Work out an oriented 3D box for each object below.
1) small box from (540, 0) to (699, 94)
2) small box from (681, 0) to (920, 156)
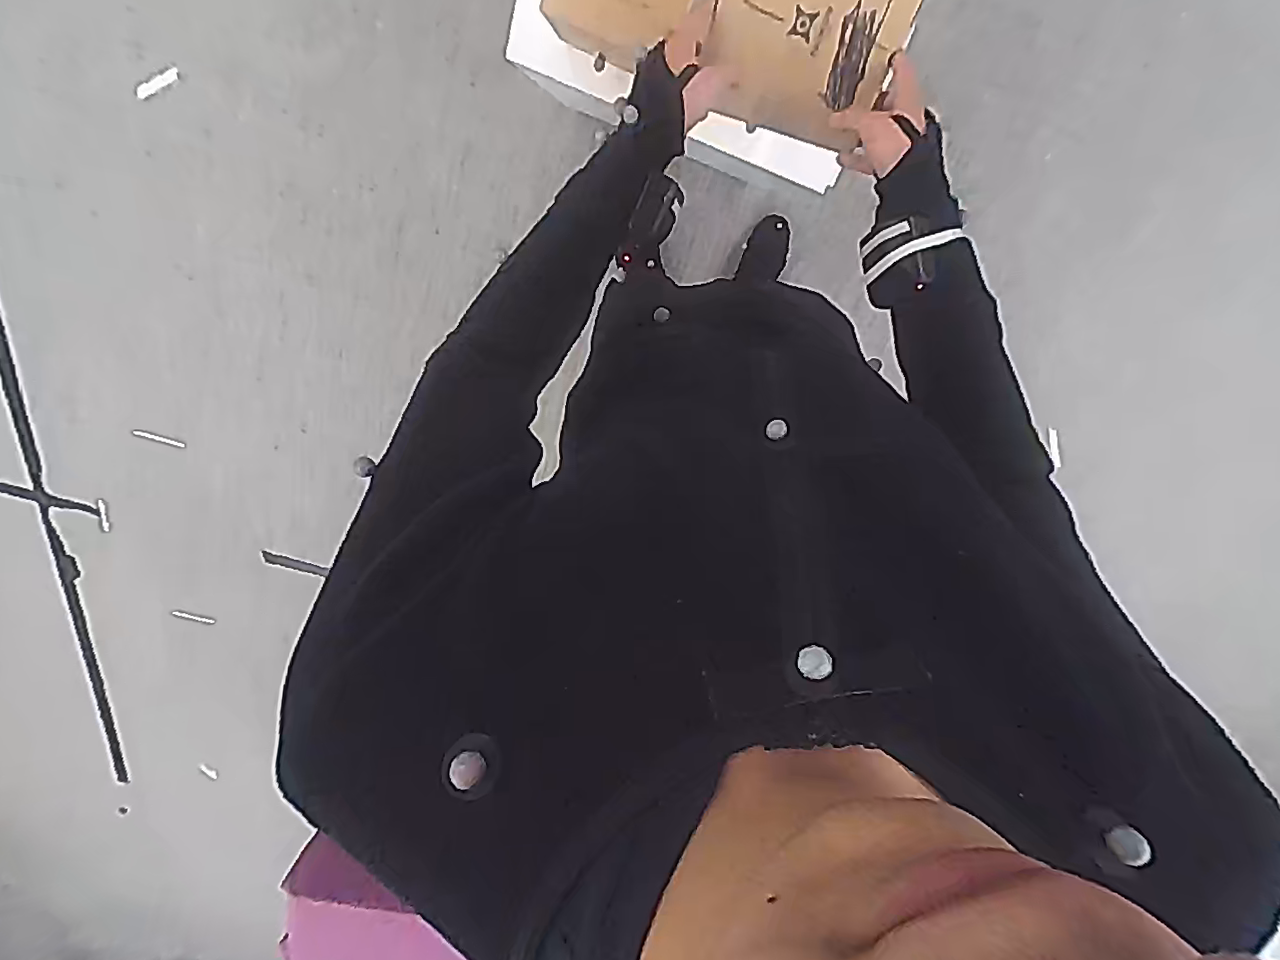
[{"bbox_3d":[-0.008,-0.611,0.658,0.168,0.176,0.179,19,117,-8],"label":"small box"},{"bbox_3d":[0.149,-0.456,0.540,0.179,0.176,0.168,12,131,-9],"label":"small box"}]
